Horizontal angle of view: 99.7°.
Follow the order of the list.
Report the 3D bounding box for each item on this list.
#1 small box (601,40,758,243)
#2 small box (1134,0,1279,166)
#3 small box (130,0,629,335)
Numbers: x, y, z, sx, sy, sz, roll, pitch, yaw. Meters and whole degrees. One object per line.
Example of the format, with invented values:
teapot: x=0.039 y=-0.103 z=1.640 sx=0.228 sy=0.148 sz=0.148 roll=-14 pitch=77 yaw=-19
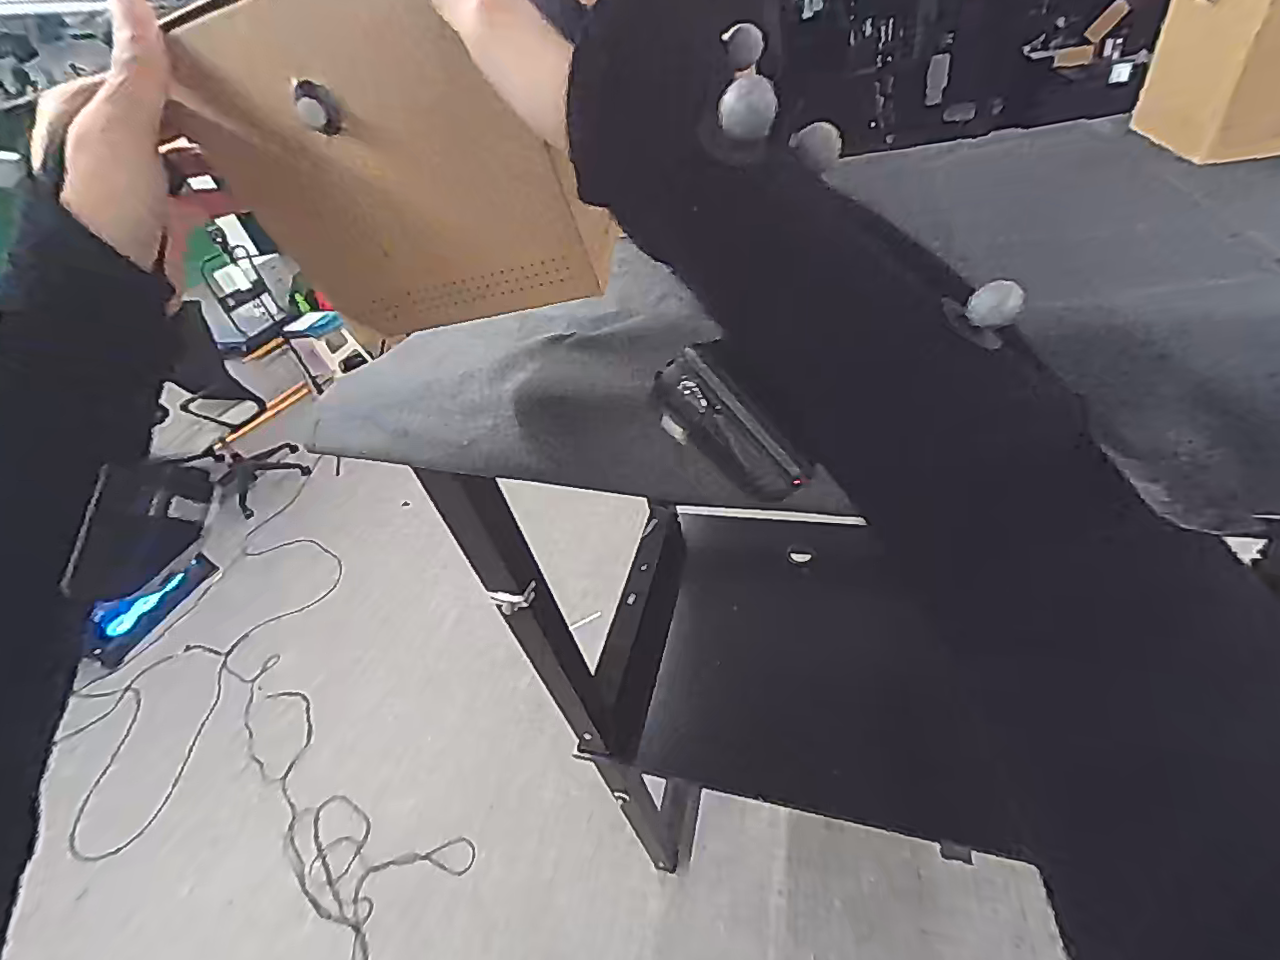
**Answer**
small box: x=0.050 y=-0.407 z=0.660 sx=0.179 sy=0.176 sz=0.168 roll=1 pitch=42 yaw=17
small box: x=0.599 y=-0.397 z=0.483 sx=0.168 sy=0.176 sz=0.179 roll=1 pitch=42 yaw=18
small box: x=-0.119 y=-0.208 z=0.328 sx=0.179 sy=0.176 sz=0.168 roll=-5 pitch=52 yaw=15
